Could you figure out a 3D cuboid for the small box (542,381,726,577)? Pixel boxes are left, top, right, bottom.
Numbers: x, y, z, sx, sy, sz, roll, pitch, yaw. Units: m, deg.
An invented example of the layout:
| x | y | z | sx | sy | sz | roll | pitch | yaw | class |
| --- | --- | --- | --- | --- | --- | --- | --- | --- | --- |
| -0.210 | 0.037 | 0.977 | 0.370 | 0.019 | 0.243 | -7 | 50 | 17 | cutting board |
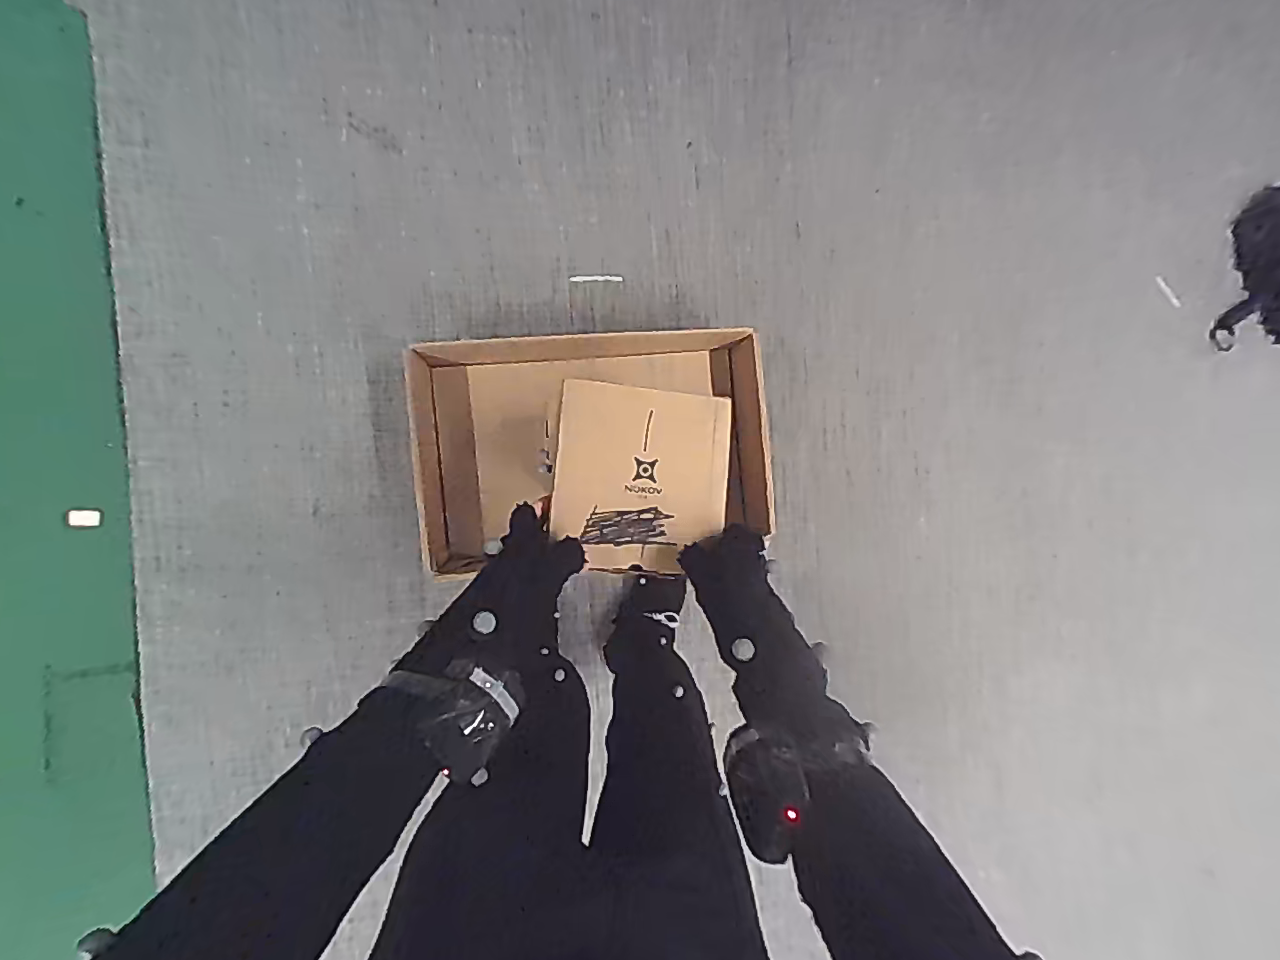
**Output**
| x | y | z | sx | sy | sz | roll | pitch | yaw | class |
| --- | --- | --- | --- | --- | --- | --- | --- | --- | --- |
| -0.016 | 0.006 | 0.592 | 0.168 | 0.176 | 0.179 | 6 | 84 | -10 | small box |
